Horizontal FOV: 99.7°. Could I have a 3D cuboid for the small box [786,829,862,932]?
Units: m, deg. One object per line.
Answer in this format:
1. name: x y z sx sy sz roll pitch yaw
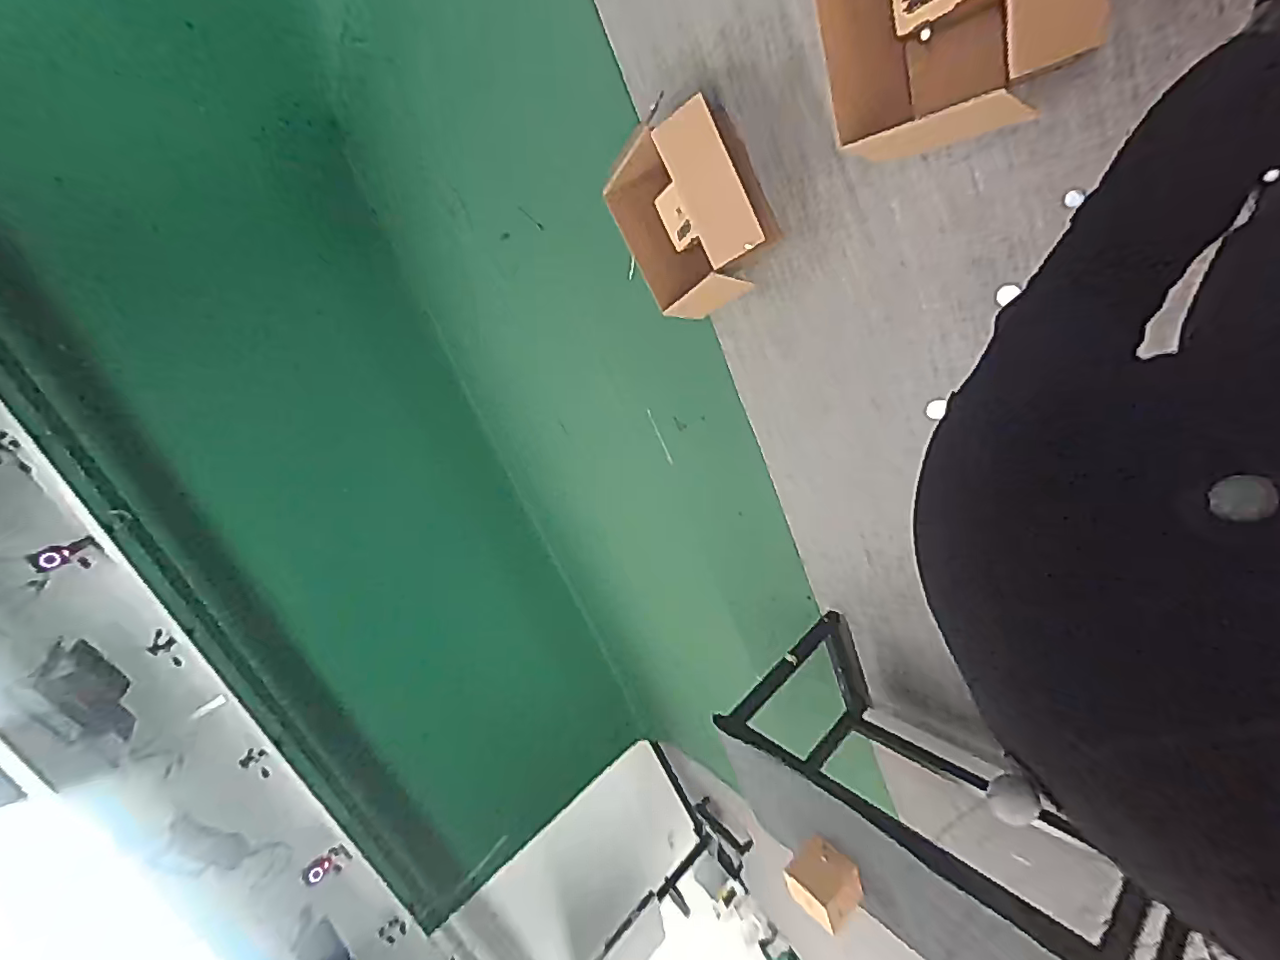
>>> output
1. small box: 0.612 1.313 1.782 0.168 0.176 0.179 17 132 52
